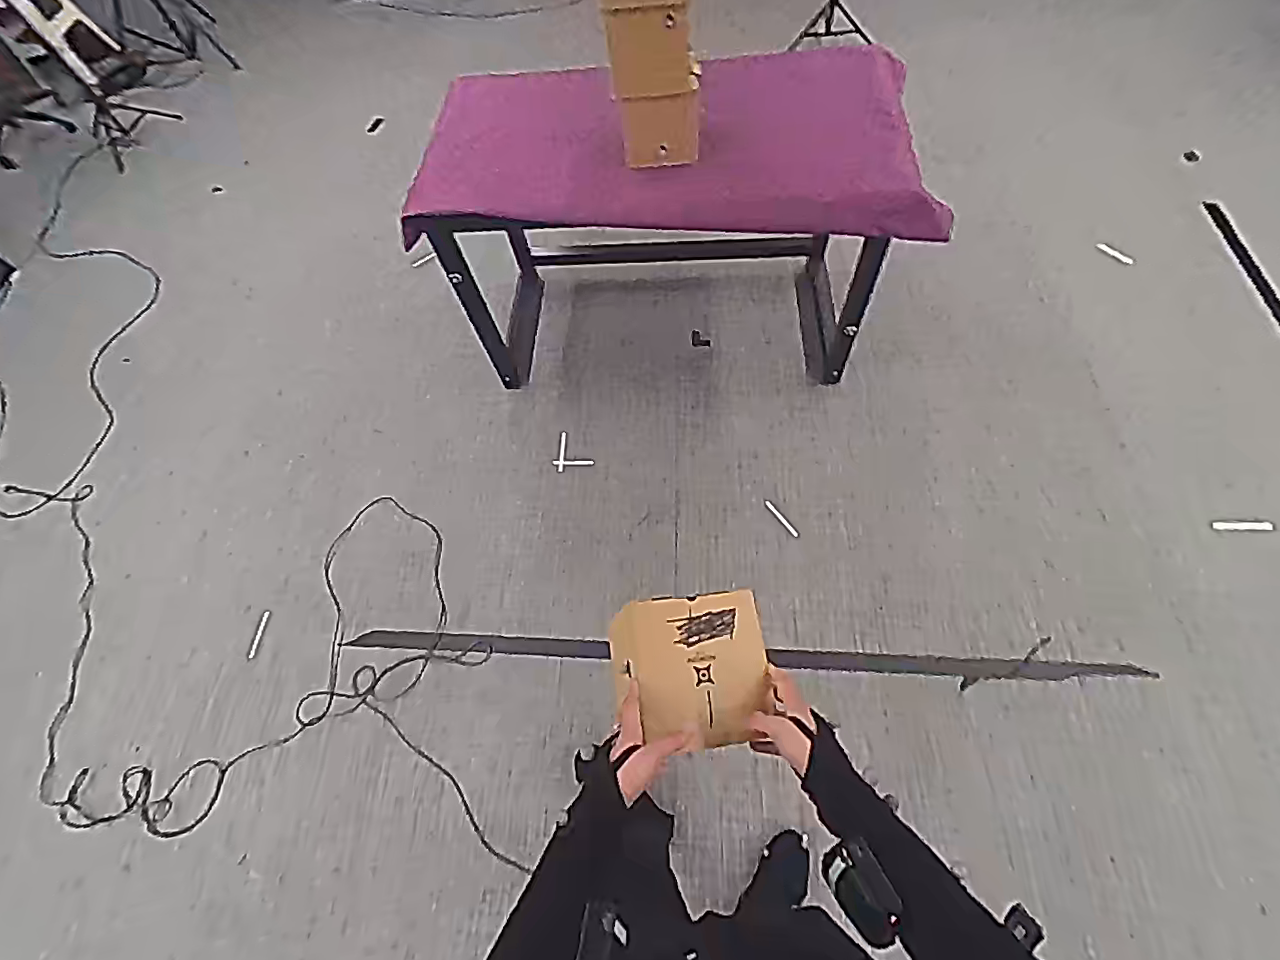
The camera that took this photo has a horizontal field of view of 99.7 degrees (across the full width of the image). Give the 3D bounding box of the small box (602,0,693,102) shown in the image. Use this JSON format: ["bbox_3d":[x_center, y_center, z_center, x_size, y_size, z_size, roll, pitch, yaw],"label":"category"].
[{"bbox_3d":[0.022,-0.930,1.138,0.179,0.176,0.168,-2,62,5],"label":"small box"}]

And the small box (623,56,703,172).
[{"bbox_3d":[0.056,-0.864,1.285,0.179,0.176,0.168,-2,61,4],"label":"small box"}]

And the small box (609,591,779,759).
[{"bbox_3d":[0.056,0.256,0.713,0.168,0.176,0.179,-3,68,-13],"label":"small box"}]
